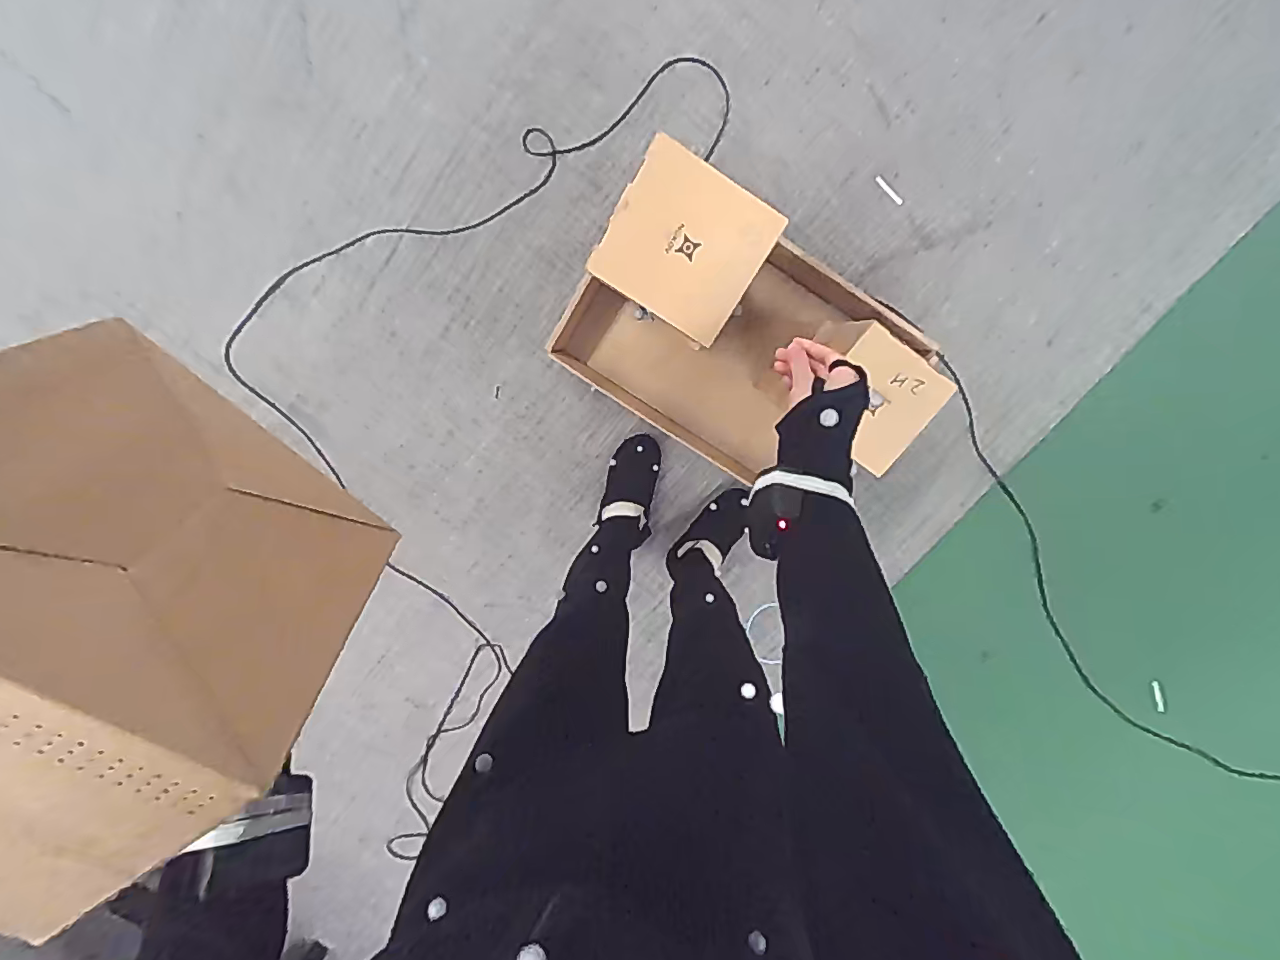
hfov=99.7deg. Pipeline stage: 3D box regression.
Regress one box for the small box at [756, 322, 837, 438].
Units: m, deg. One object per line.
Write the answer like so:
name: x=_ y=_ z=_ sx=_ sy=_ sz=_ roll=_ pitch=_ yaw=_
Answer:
small box: x=0.346 y=-0.180 z=1.042 sx=0.179 sy=0.176 sz=0.168 roll=37 pitch=102 yaw=-6

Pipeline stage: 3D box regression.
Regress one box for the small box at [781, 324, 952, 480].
small box: x=0.351 y=-0.131 z=0.884 sx=0.168 sy=0.176 sz=0.179 roll=36 pitch=102 yaw=-8

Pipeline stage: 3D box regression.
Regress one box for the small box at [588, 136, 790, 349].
small box: x=0.059 y=-0.288 z=0.692 sx=0.179 sy=0.176 sz=0.168 roll=32 pitch=105 yaw=-5
